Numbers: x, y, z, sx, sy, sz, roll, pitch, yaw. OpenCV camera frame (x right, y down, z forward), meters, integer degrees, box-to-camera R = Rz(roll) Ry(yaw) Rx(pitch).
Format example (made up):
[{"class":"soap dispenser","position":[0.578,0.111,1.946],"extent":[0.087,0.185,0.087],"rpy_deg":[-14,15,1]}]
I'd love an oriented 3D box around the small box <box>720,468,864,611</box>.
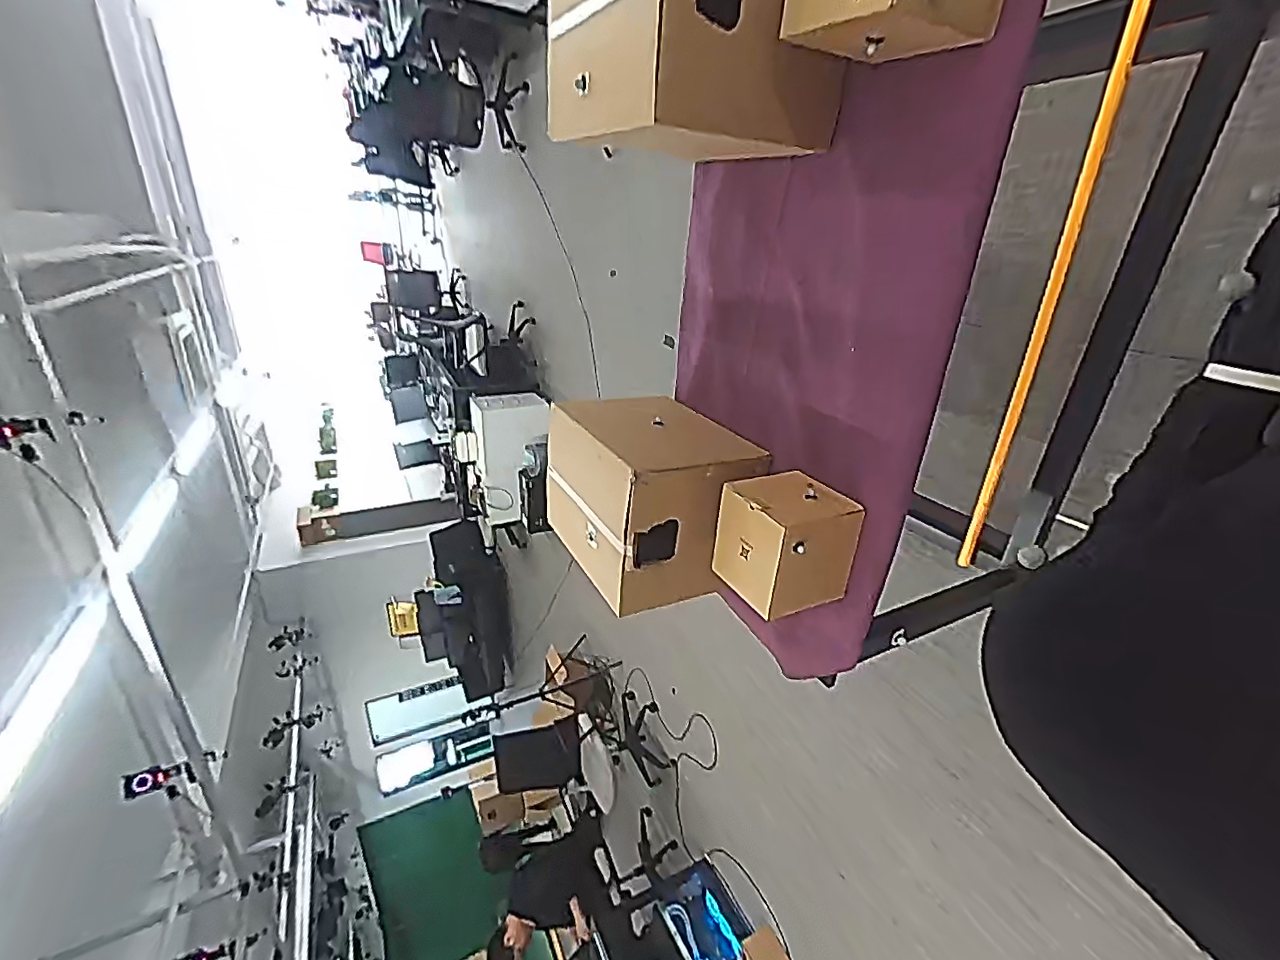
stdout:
[{"class":"small box","position":[0.258,0.094,0.935],"extent":[0.168,0.176,0.179],"rpy_deg":[-139,46,-55]}]

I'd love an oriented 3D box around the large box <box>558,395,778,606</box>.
[{"class":"large box","position":[0.037,0.012,1.202],"extent":[0.408,0.320,0.320],"rpy_deg":[39,132,51]}]
